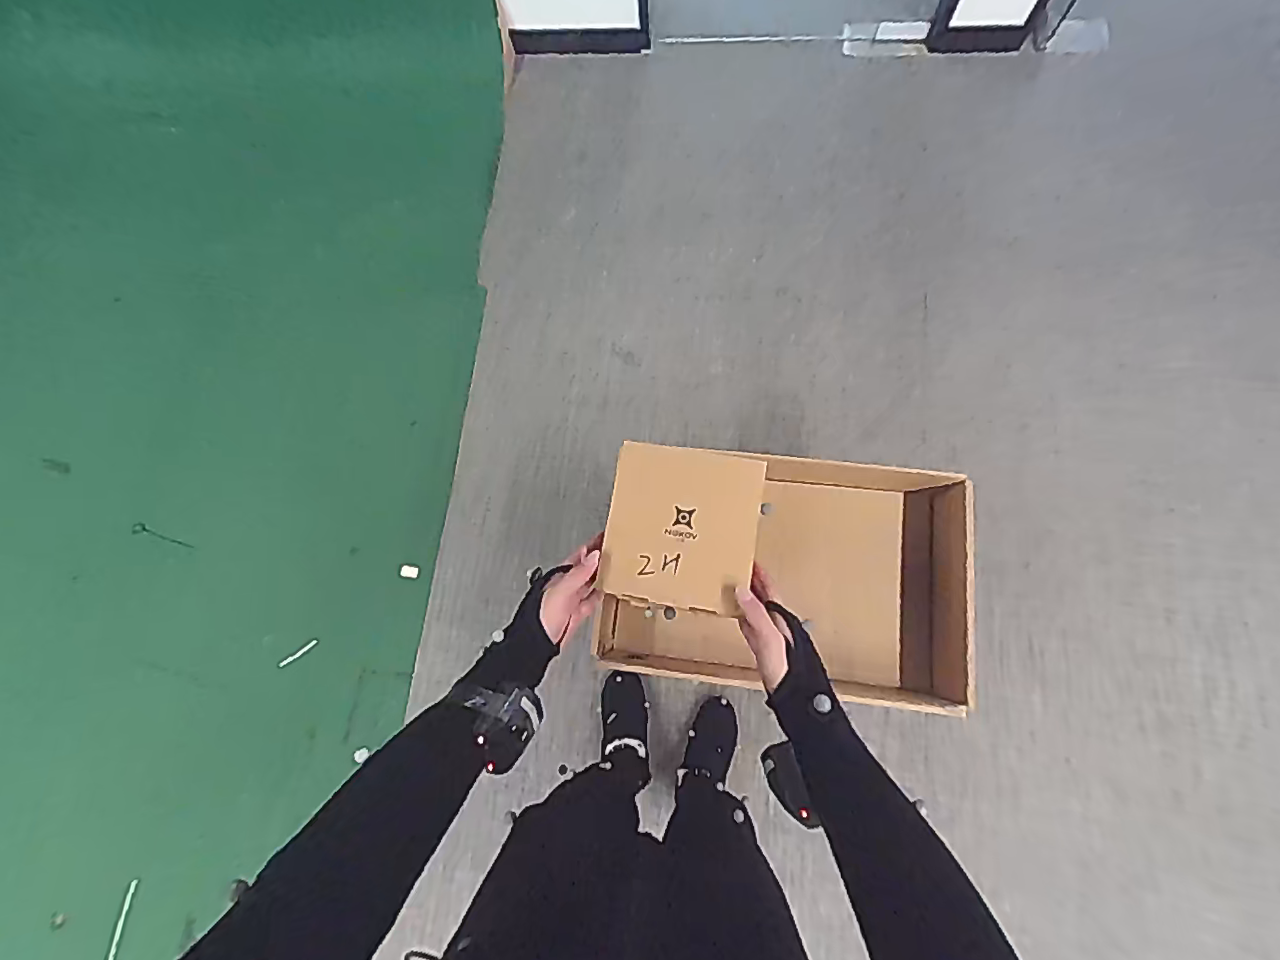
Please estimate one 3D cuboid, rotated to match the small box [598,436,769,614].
[{"bbox_3d":[0.055,0.064,0.672,0.168,0.176,0.179,9,77,8],"label":"small box"}]
